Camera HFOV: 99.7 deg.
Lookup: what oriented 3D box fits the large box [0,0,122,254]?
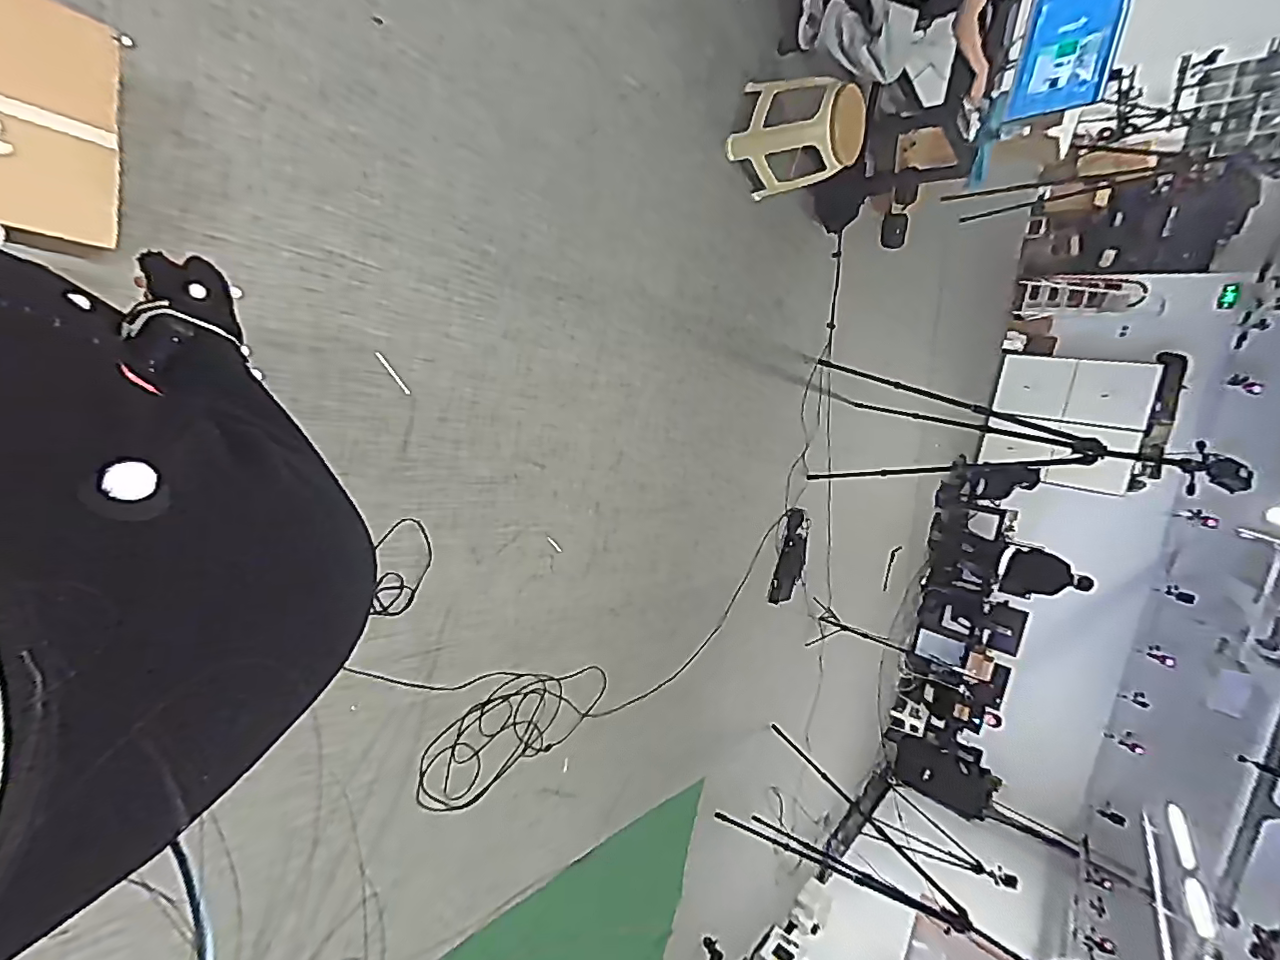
[{"bbox_3d":[-1.031,-0.544,0.764,0.408,0.320,0.320,0,103,-50],"label":"large box"}]
